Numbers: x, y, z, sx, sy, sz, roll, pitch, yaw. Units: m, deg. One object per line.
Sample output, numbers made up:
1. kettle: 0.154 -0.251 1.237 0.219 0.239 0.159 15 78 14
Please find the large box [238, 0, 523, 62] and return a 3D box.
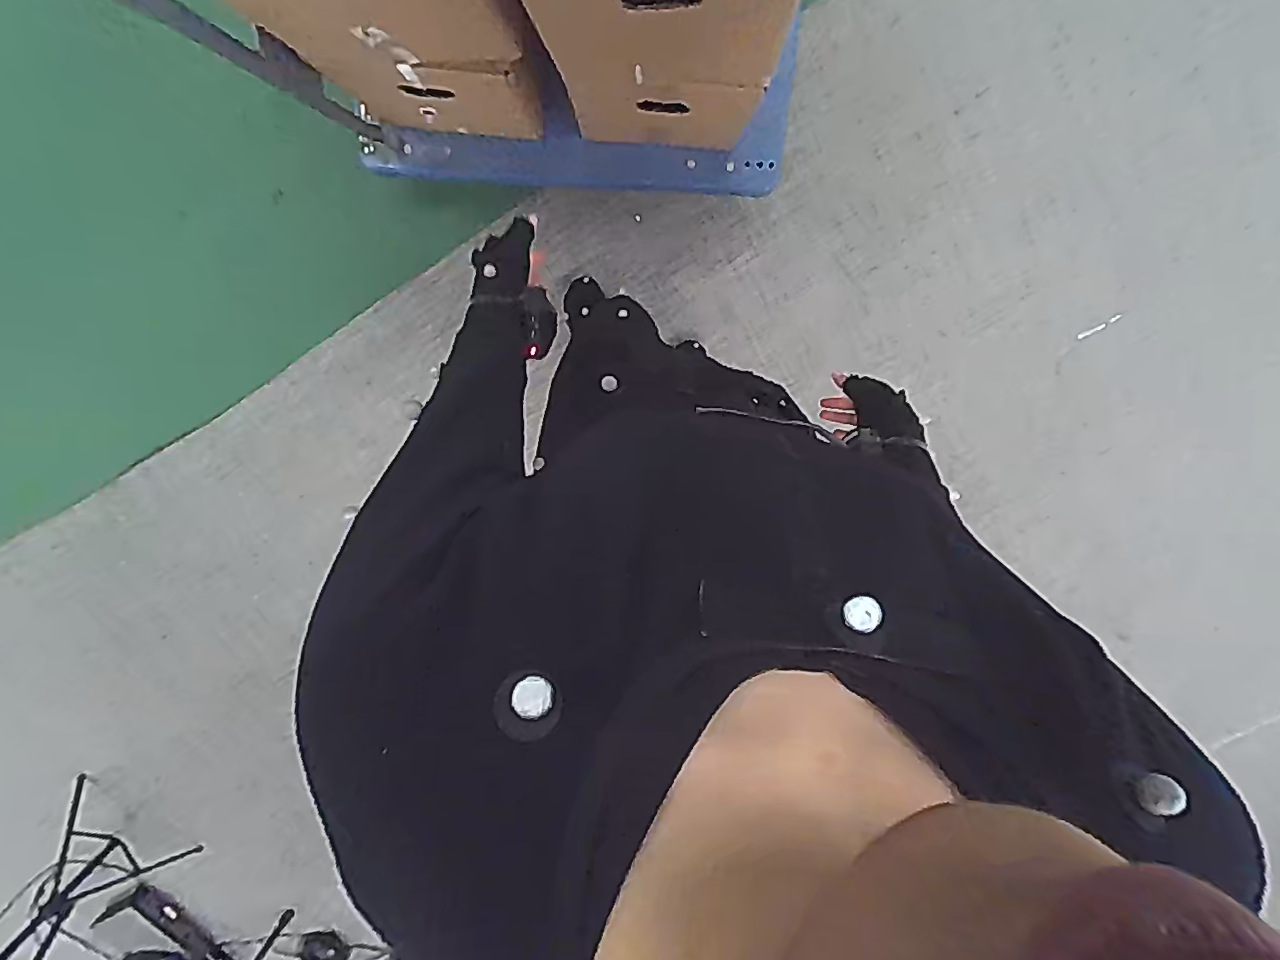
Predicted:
1. large box: -0.327 -0.753 0.578 0.320 0.320 0.408 2 106 4
